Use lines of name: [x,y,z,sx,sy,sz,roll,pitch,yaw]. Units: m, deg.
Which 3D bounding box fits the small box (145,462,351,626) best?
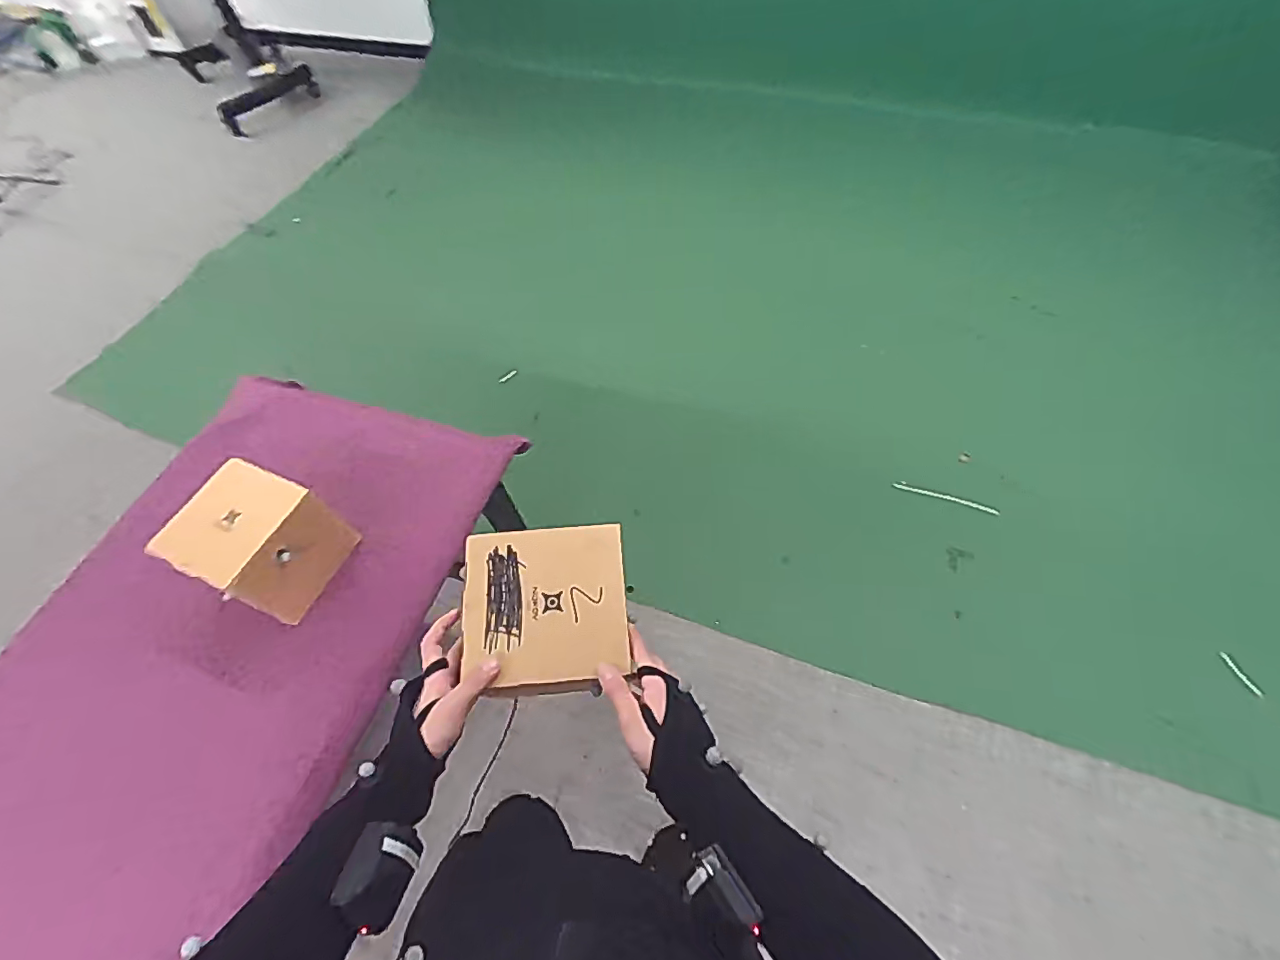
small box: [-0.601,0.106,0.863,0.168,0.176,0.179,20,63,14]
